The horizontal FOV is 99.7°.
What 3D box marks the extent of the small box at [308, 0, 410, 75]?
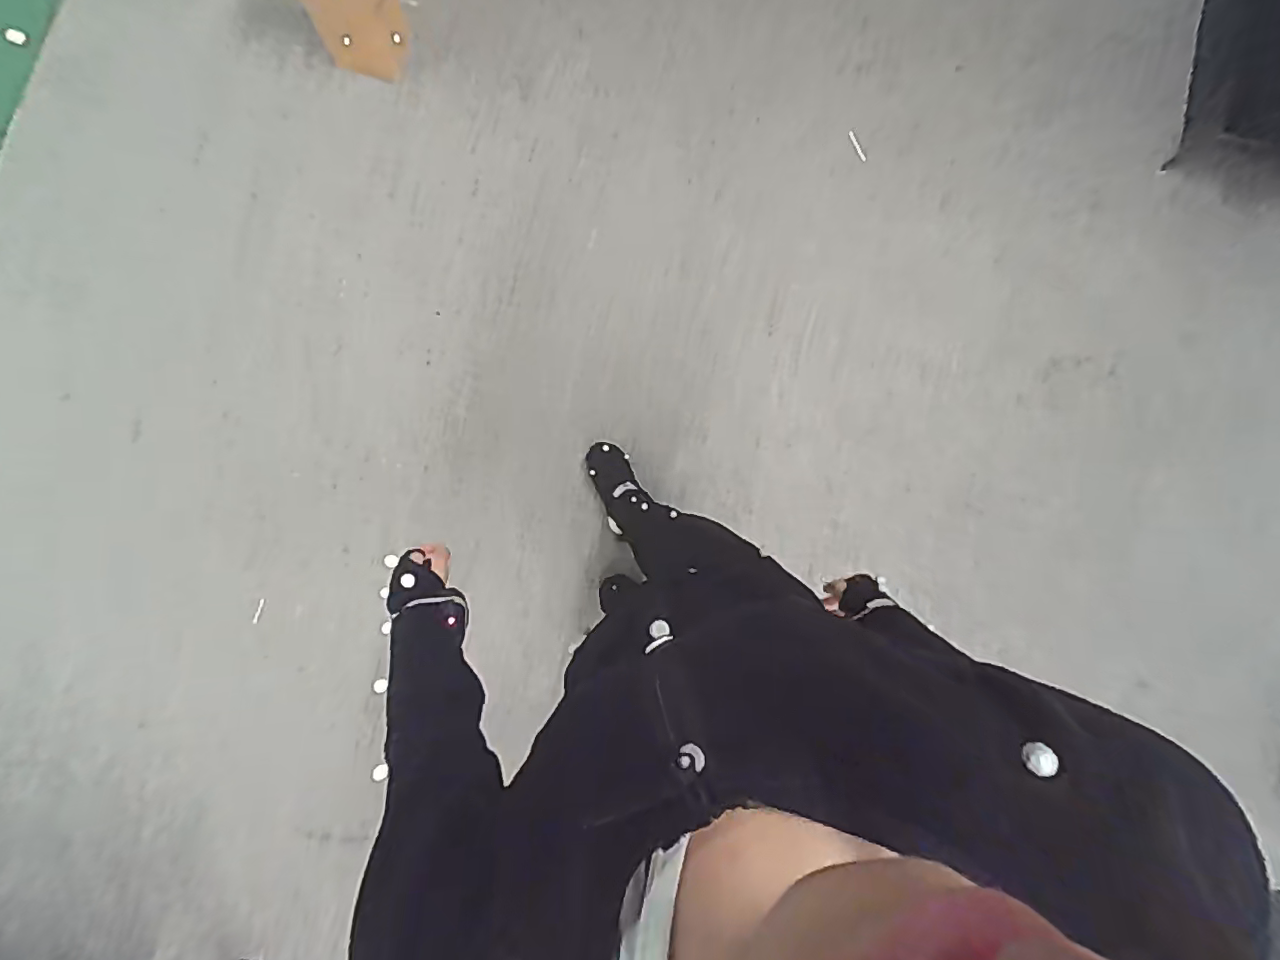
[{"bbox_3d":[-0.748,-1.246,1.459,0.179,0.176,0.168,12,86,-2],"label":"small box"}]
